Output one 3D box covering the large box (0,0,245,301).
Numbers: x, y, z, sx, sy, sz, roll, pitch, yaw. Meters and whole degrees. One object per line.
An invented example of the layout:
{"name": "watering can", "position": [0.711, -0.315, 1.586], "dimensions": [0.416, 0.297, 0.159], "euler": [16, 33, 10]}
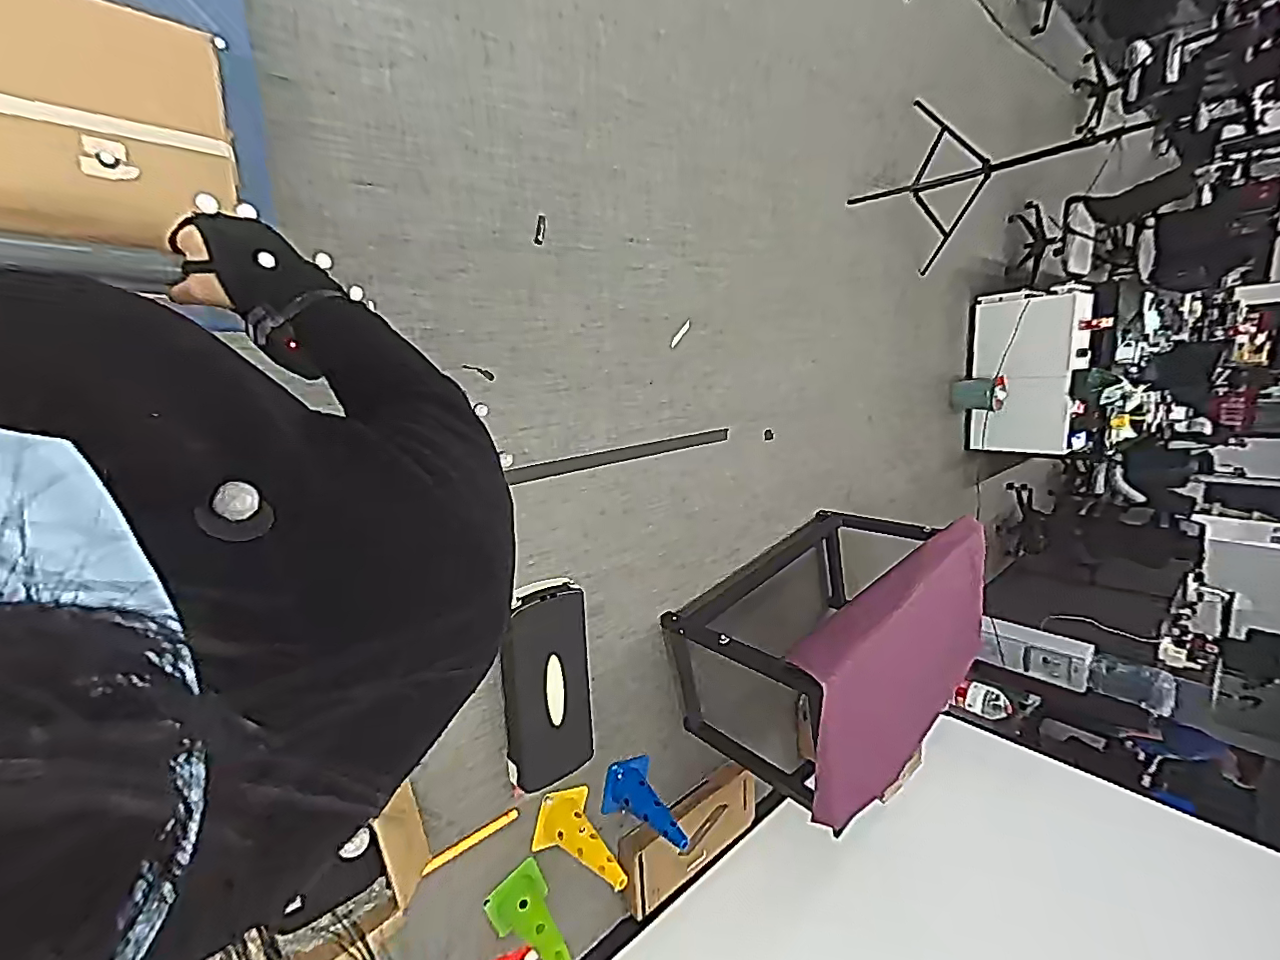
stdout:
{"name": "large box", "position": [-0.854, -0.453, 0.783], "dimensions": [0.408, 0.320, 0.320], "euler": [-9, 102, -40]}
